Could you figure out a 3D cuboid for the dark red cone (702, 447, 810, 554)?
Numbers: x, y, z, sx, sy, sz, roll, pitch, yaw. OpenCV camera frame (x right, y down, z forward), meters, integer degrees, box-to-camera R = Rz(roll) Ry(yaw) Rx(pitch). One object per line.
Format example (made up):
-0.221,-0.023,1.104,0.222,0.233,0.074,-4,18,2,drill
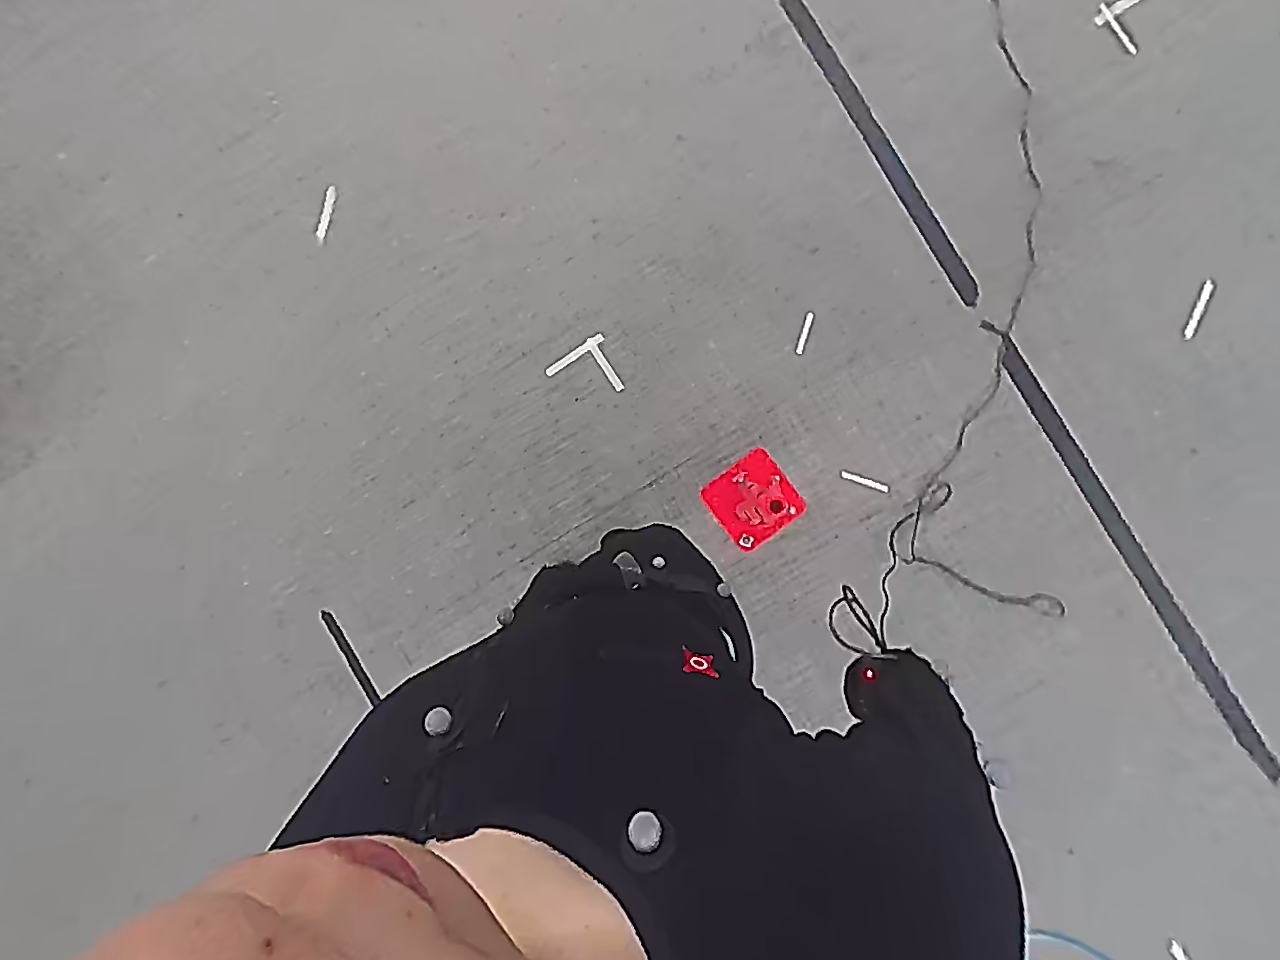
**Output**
0.264,0.046,1.135,0.201,0.394,0.202,-38,87,3,dark red cone
